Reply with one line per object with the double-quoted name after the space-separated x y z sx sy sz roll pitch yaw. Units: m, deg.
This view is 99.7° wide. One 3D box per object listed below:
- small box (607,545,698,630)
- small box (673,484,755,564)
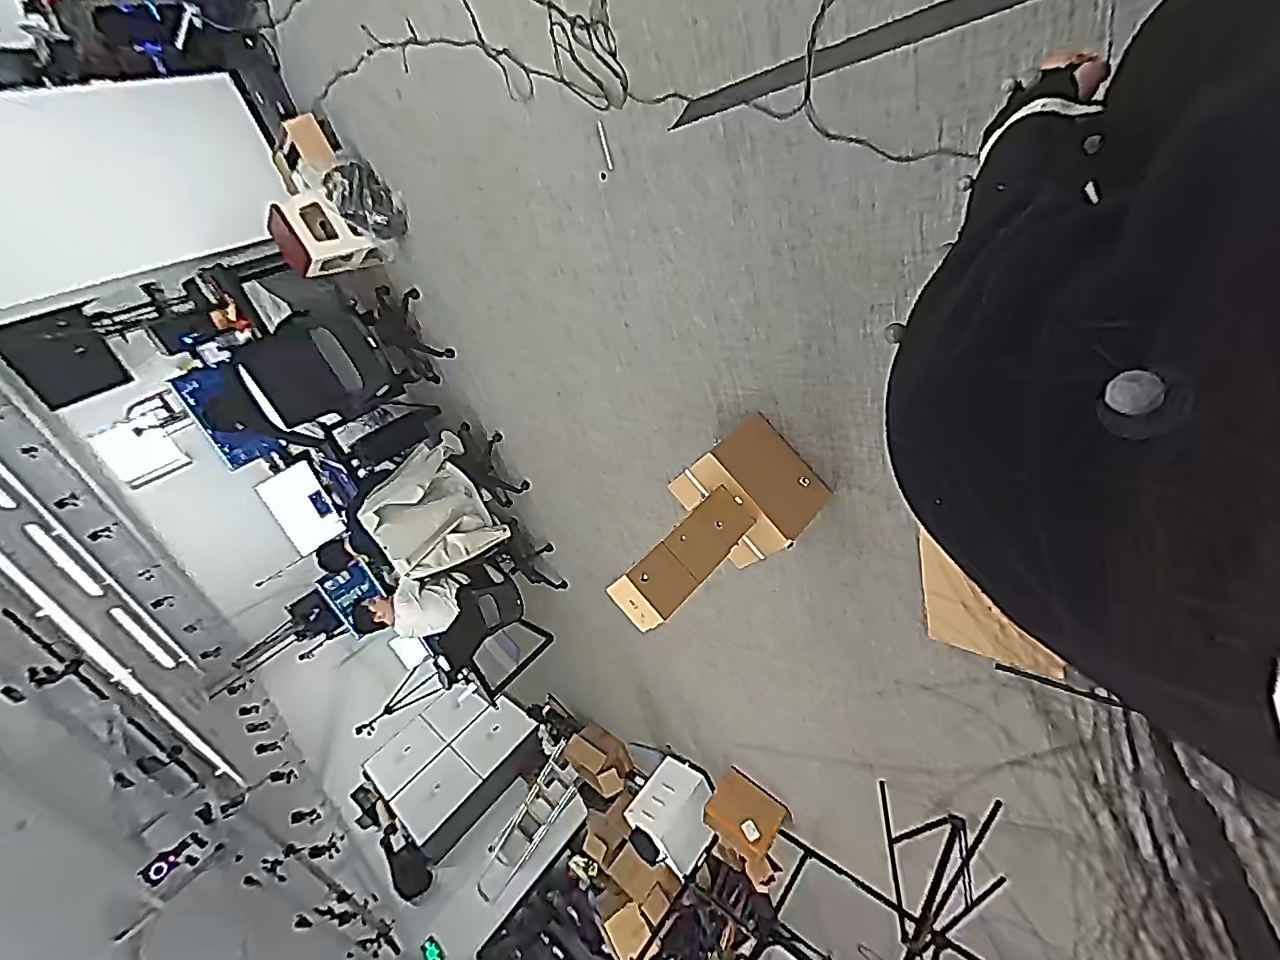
0.038 0.316 1.624 0.179 0.176 0.168 49 146 5 "small box"
0.250 0.147 1.811 0.179 0.176 0.168 49 145 6 "small box"
